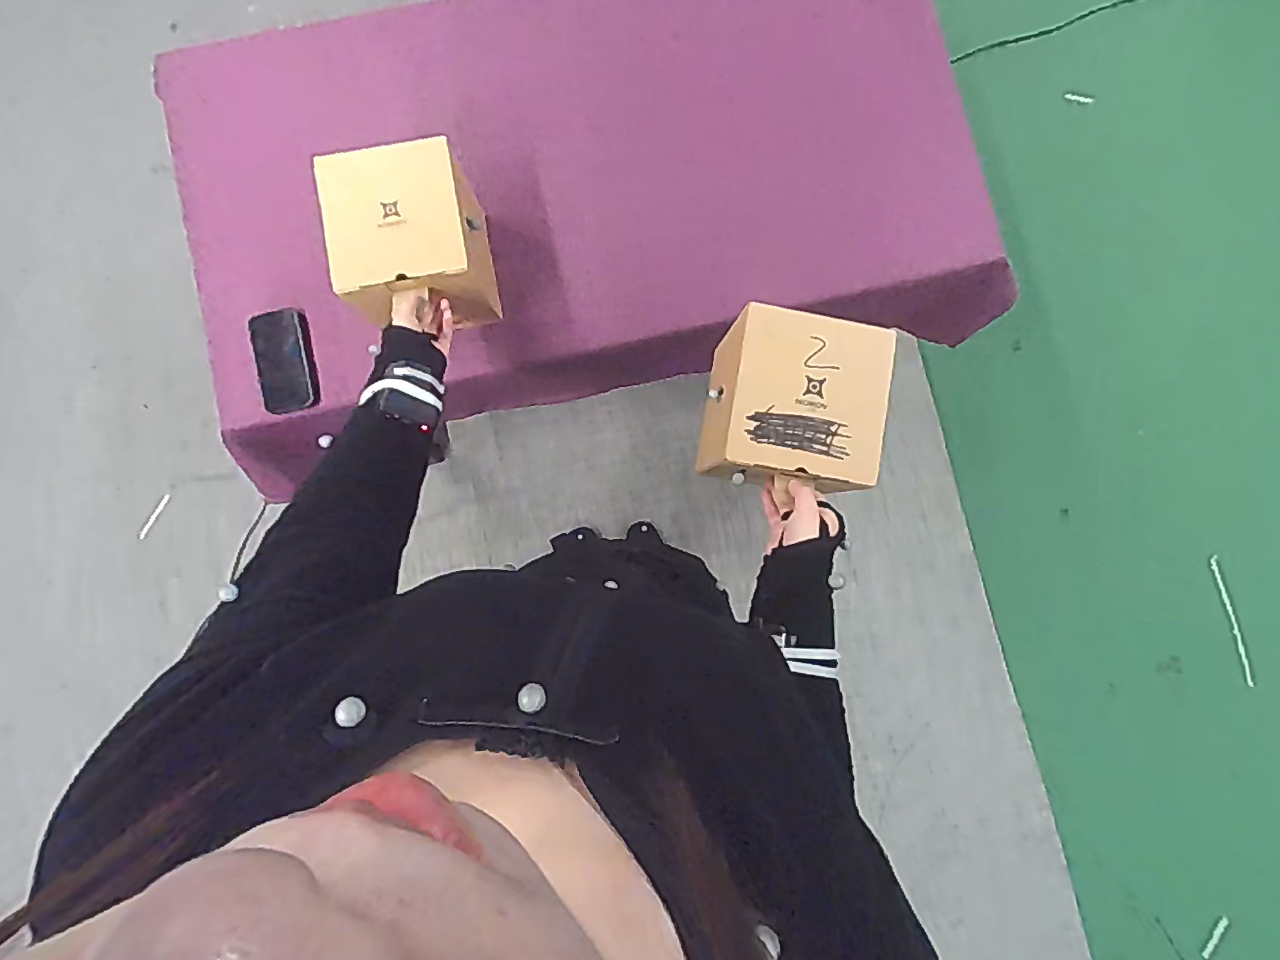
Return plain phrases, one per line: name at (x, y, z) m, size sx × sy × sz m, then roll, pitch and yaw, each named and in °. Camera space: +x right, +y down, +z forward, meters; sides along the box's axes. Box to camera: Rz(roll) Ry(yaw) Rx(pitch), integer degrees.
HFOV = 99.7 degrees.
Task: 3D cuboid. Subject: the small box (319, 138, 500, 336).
small box at (-0.299, -0.317, 0.733) m, size 0.168 × 0.176 × 0.179 m, roll -10°, pitch 86°, yaw -2°
